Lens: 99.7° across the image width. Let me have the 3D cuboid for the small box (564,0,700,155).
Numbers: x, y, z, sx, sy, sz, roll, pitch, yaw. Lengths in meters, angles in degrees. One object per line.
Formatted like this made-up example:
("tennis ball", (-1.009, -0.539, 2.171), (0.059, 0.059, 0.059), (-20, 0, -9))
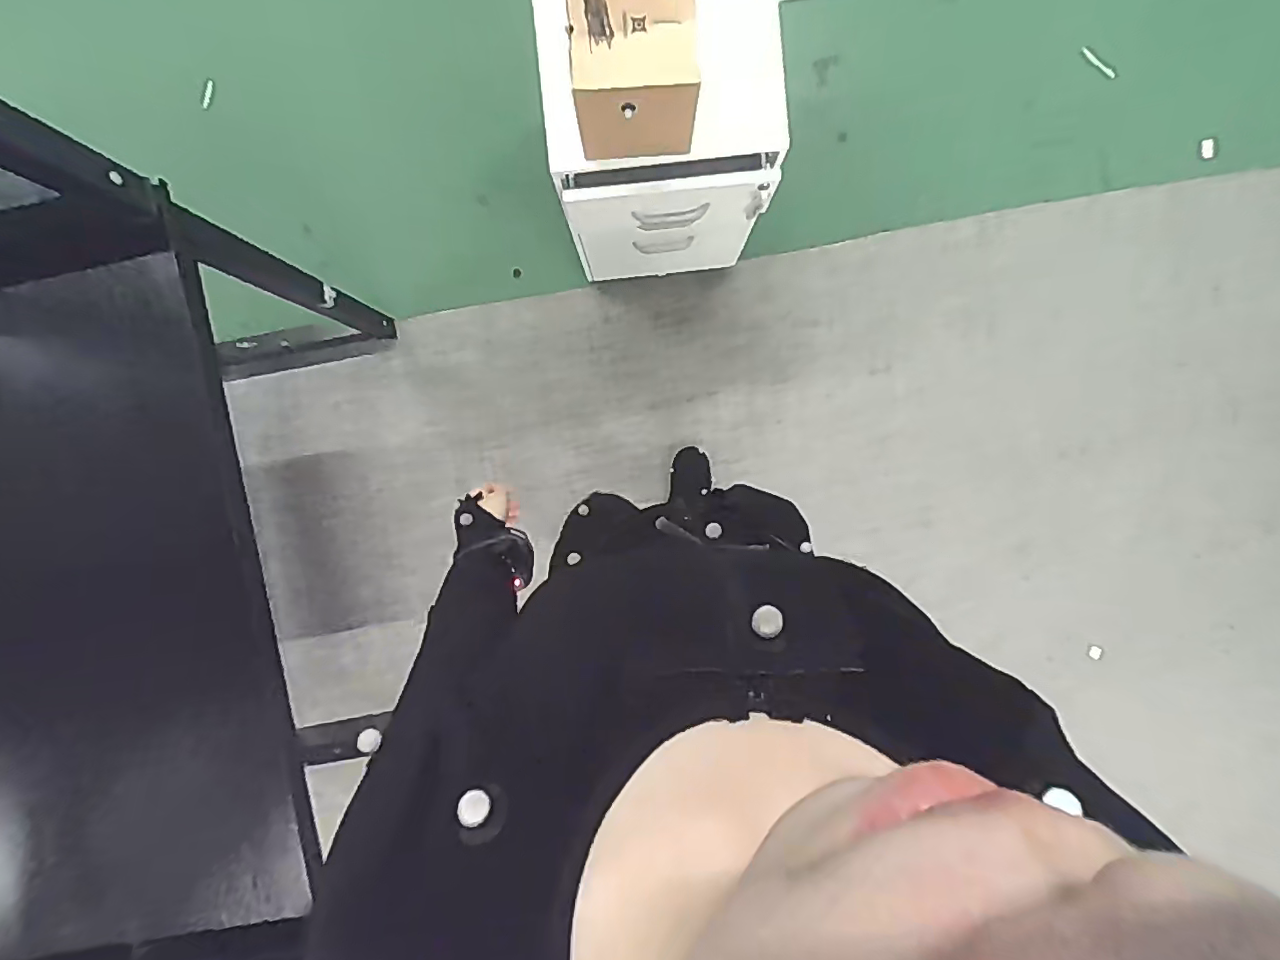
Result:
("small box", (-0.010, -0.601, 0.787), (0.179, 0.176, 0.168), (-3, 92, 0))
